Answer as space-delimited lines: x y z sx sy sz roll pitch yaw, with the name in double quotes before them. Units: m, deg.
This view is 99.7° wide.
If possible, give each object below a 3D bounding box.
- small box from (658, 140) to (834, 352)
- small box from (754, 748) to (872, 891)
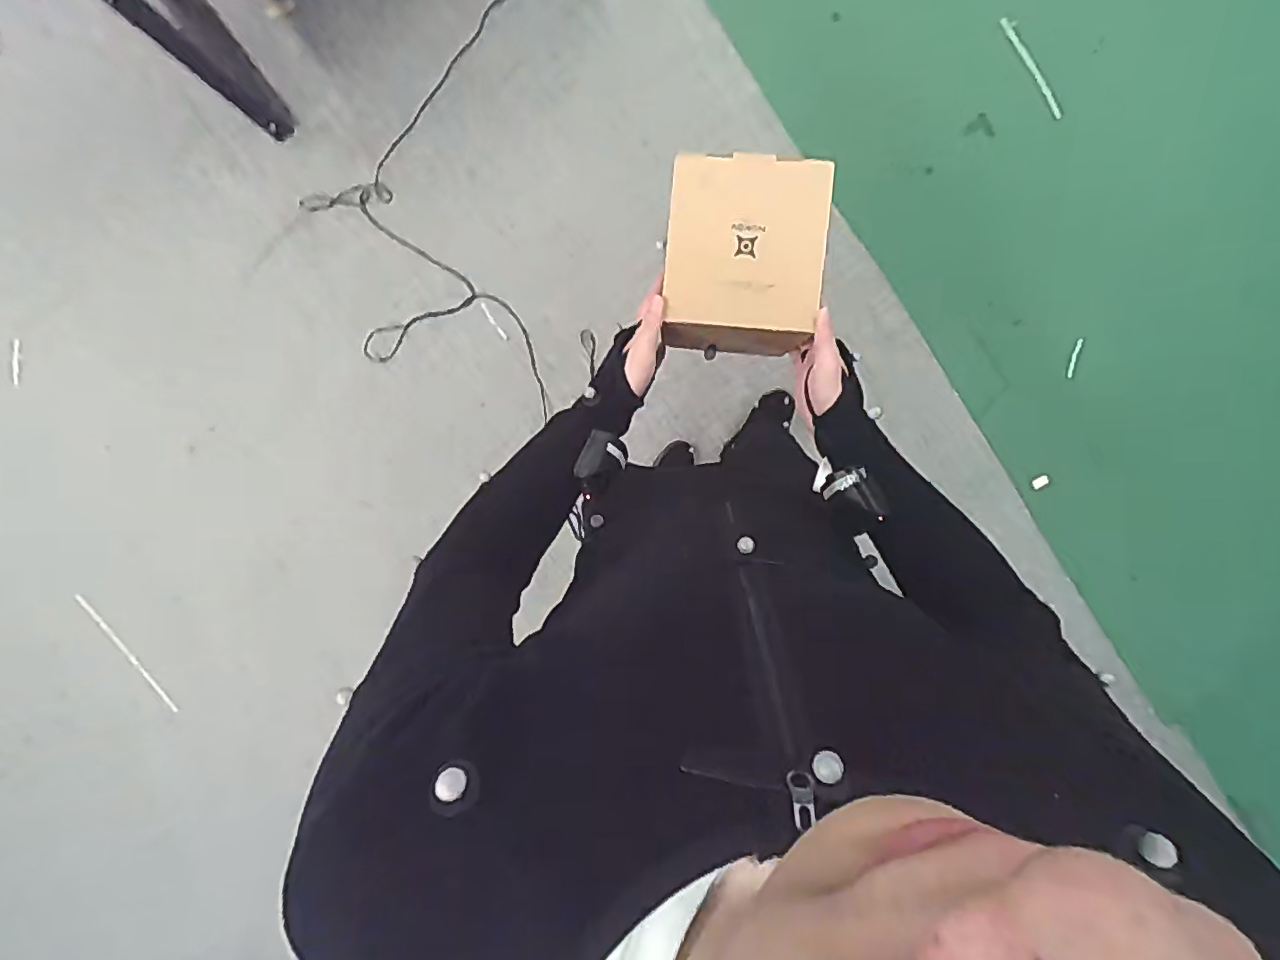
"small box" 0.110 -0.256 0.628 0.168 0.176 0.179 5 95 2
"small box" 0.371 0.735 1.187 0.168 0.176 0.179 -24 95 1
